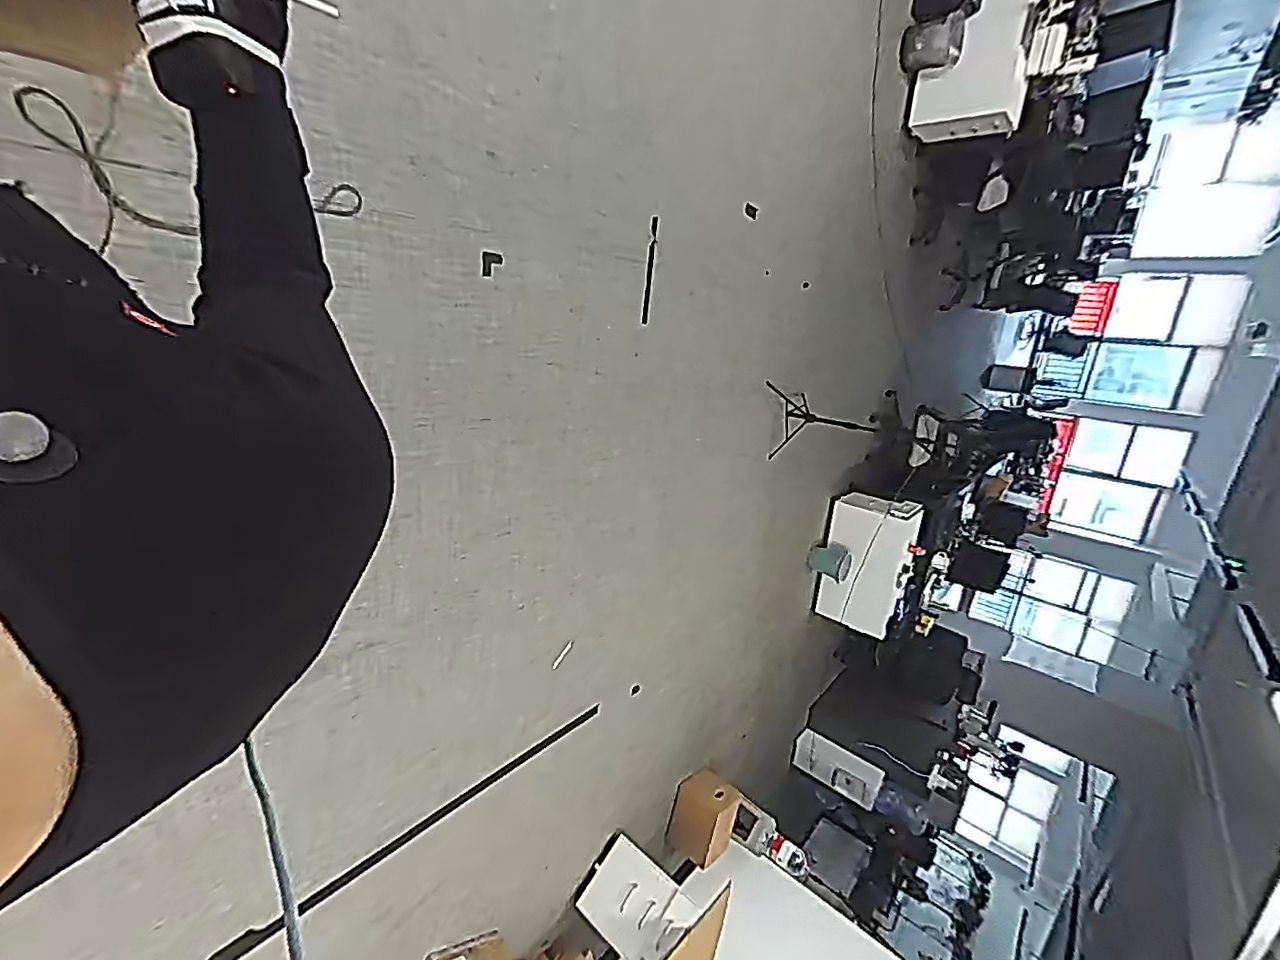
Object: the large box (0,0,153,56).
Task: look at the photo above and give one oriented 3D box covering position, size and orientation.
[{"bbox_3d":[-0.544,-0.493,0.269,0.408,0.320,0.320,-16,118,-48],"label":"large box"}]
